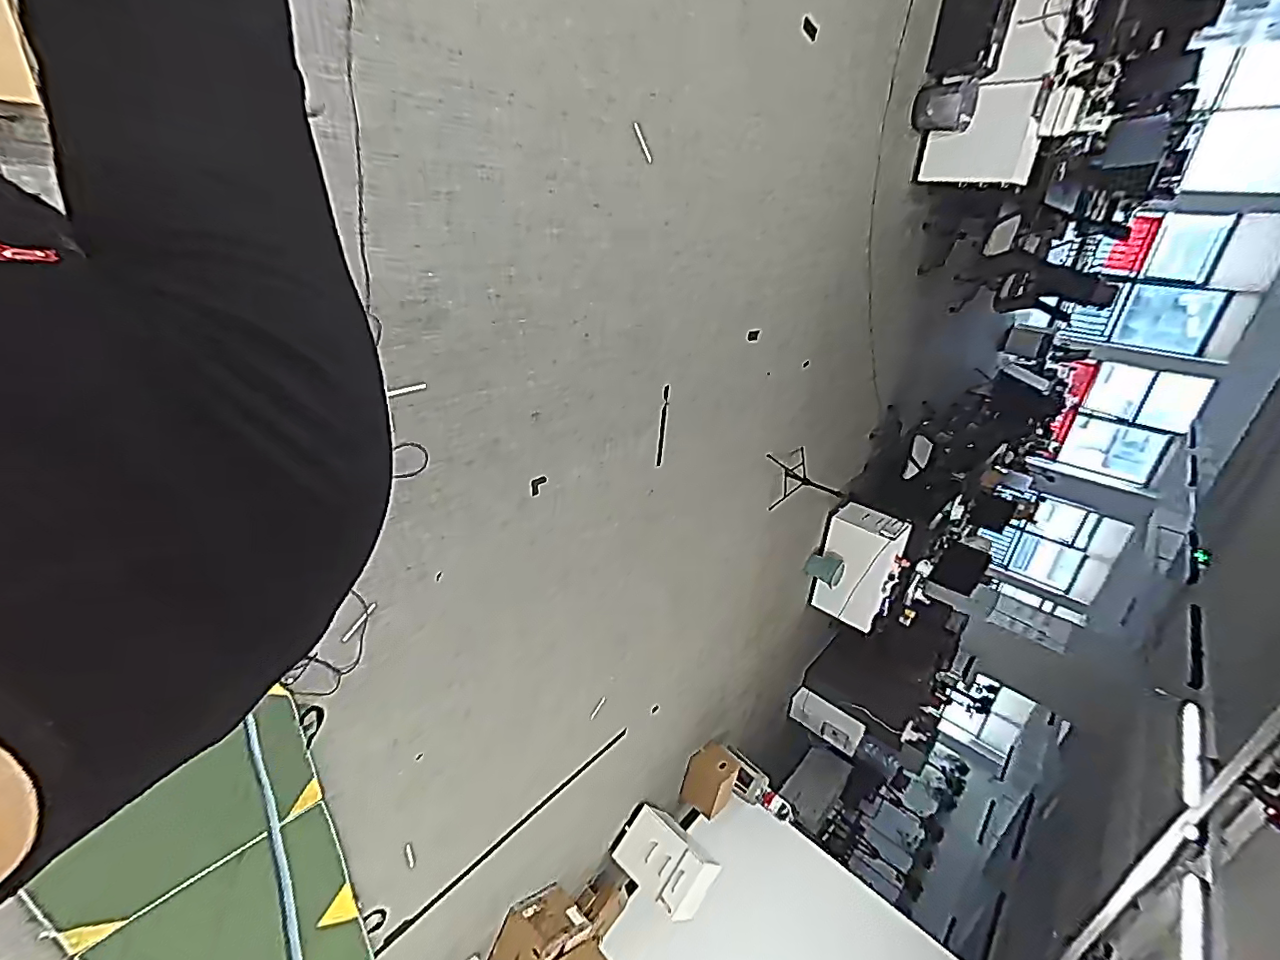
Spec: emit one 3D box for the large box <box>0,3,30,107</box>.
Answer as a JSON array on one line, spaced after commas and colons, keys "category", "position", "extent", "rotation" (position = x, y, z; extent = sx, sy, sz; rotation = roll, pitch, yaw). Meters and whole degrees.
[{"category": "large box", "position": [-1.061, -0.650, 0.618], "extent": [0.408, 0.320, 0.320], "rotation": [-24, 128, -44]}]
